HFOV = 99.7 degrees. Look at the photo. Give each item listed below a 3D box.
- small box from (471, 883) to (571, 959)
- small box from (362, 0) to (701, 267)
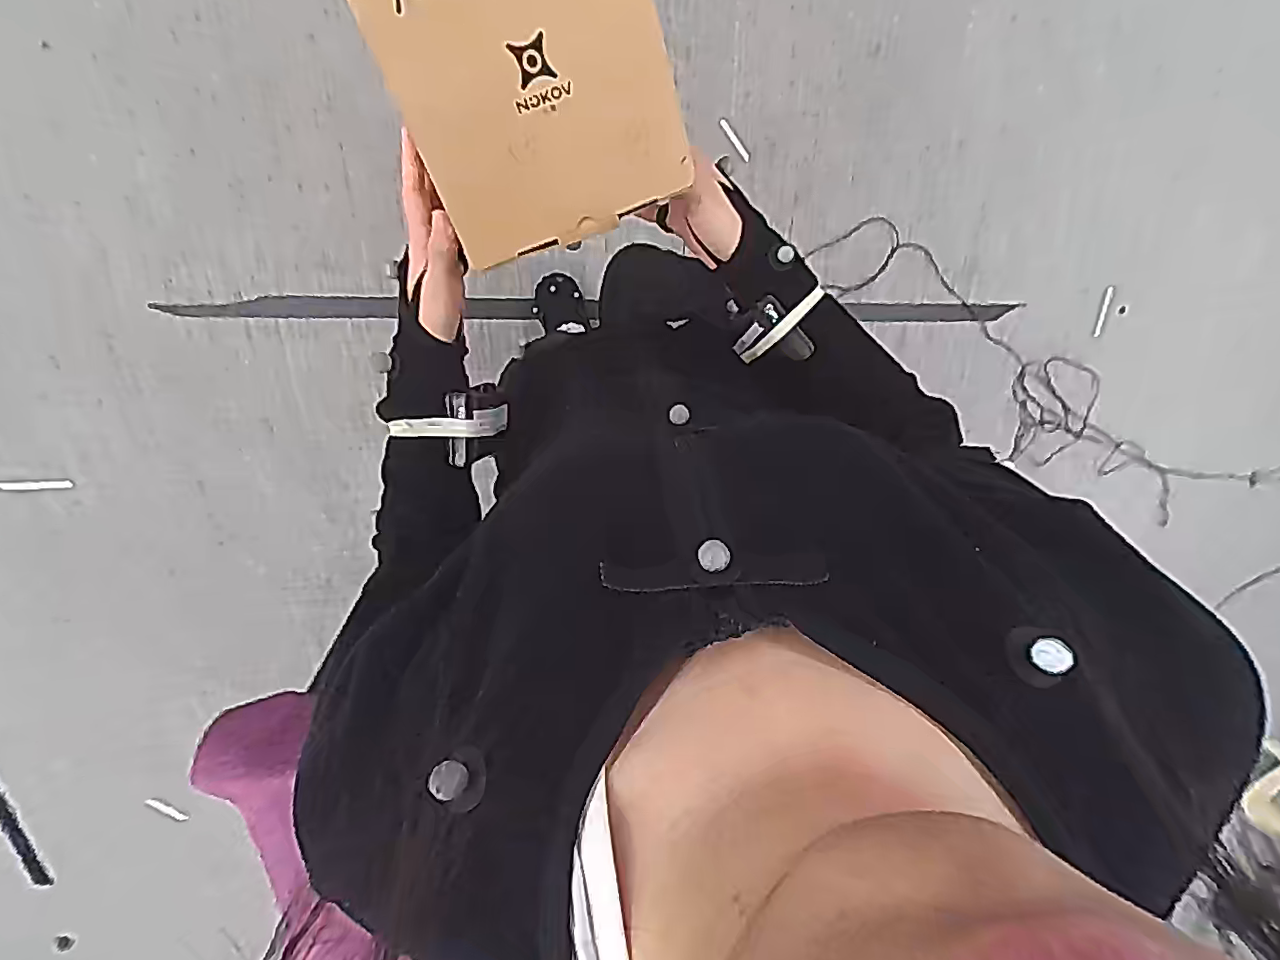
[{"bbox_3d":[-0.206,0.868,0.962,0.168,0.176,0.179,-3,110,-10],"label":"small box"},{"bbox_3d":[-0.078,-0.276,0.389,0.168,0.176,0.179,-24,120,-6],"label":"small box"}]
